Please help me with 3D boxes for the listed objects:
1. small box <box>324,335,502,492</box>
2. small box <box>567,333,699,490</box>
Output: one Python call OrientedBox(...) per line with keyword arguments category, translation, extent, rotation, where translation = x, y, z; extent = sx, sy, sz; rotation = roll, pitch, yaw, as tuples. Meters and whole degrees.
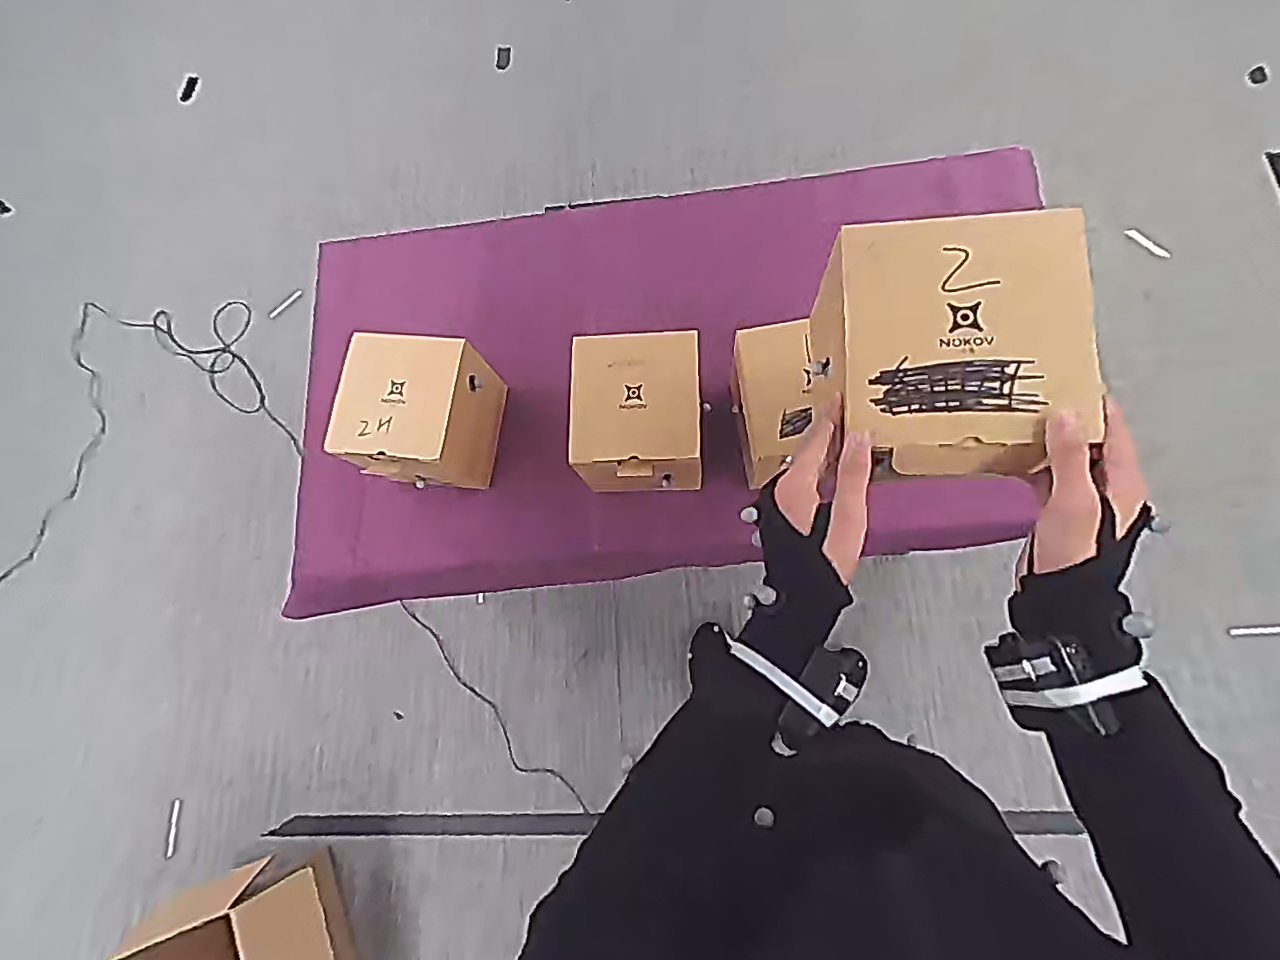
OrientedBox(category="small box", translation=(-0.316, -0.090, 0.793), extent=(0.168, 0.176, 0.179), rotation=(5, 78, 8))
OrientedBox(category="small box", translation=(-0.001, -0.084, 0.757), extent=(0.168, 0.176, 0.179), rotation=(-1, 76, 6))
